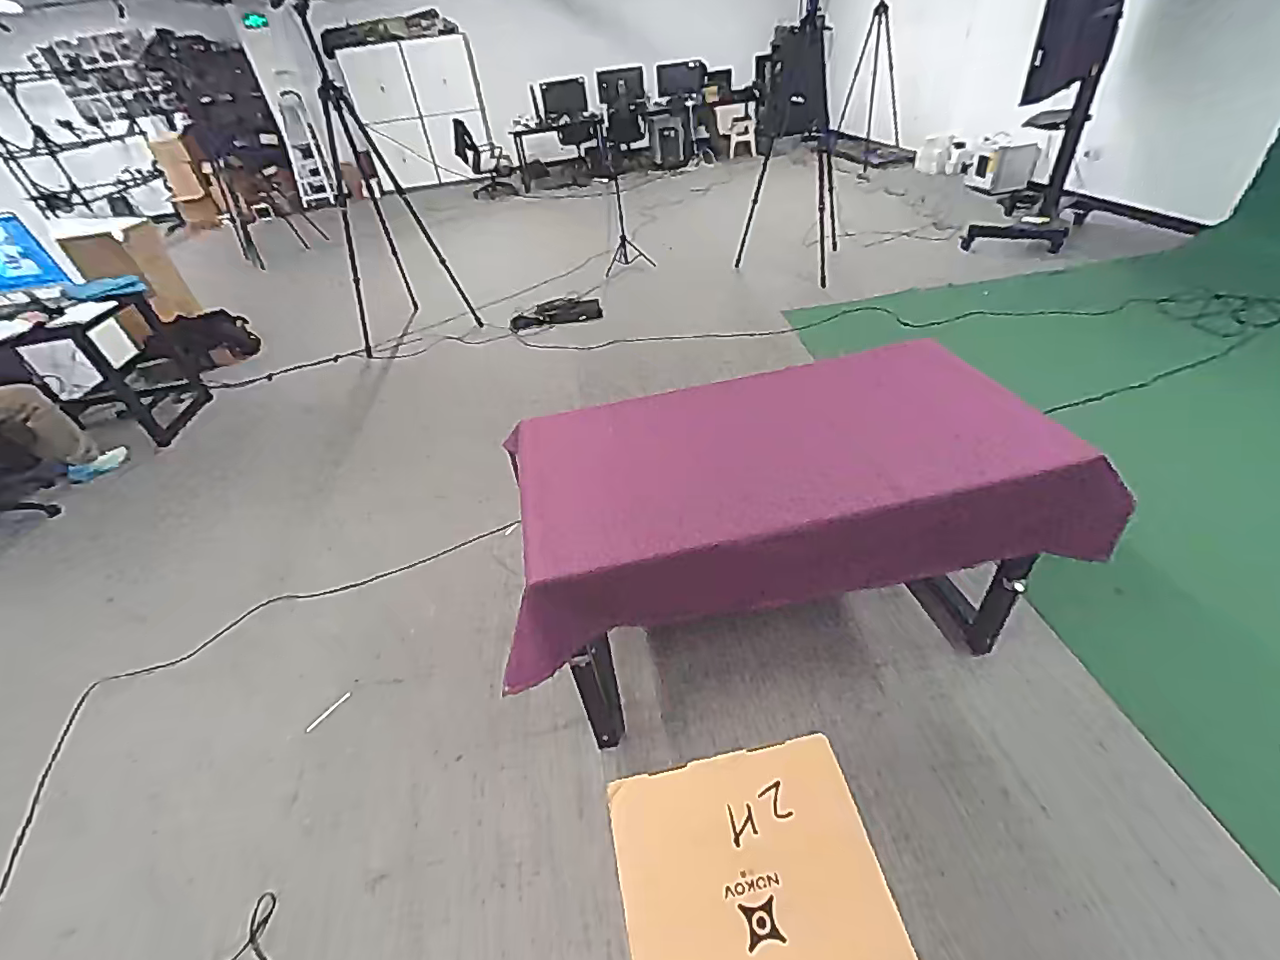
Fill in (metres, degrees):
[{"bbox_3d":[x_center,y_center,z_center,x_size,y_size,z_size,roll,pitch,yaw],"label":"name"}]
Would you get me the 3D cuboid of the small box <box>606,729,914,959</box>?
[{"bbox_3d":[0.075,0.311,0.395,0.168,0.176,0.179,-10,49,-6],"label":"small box"}]
